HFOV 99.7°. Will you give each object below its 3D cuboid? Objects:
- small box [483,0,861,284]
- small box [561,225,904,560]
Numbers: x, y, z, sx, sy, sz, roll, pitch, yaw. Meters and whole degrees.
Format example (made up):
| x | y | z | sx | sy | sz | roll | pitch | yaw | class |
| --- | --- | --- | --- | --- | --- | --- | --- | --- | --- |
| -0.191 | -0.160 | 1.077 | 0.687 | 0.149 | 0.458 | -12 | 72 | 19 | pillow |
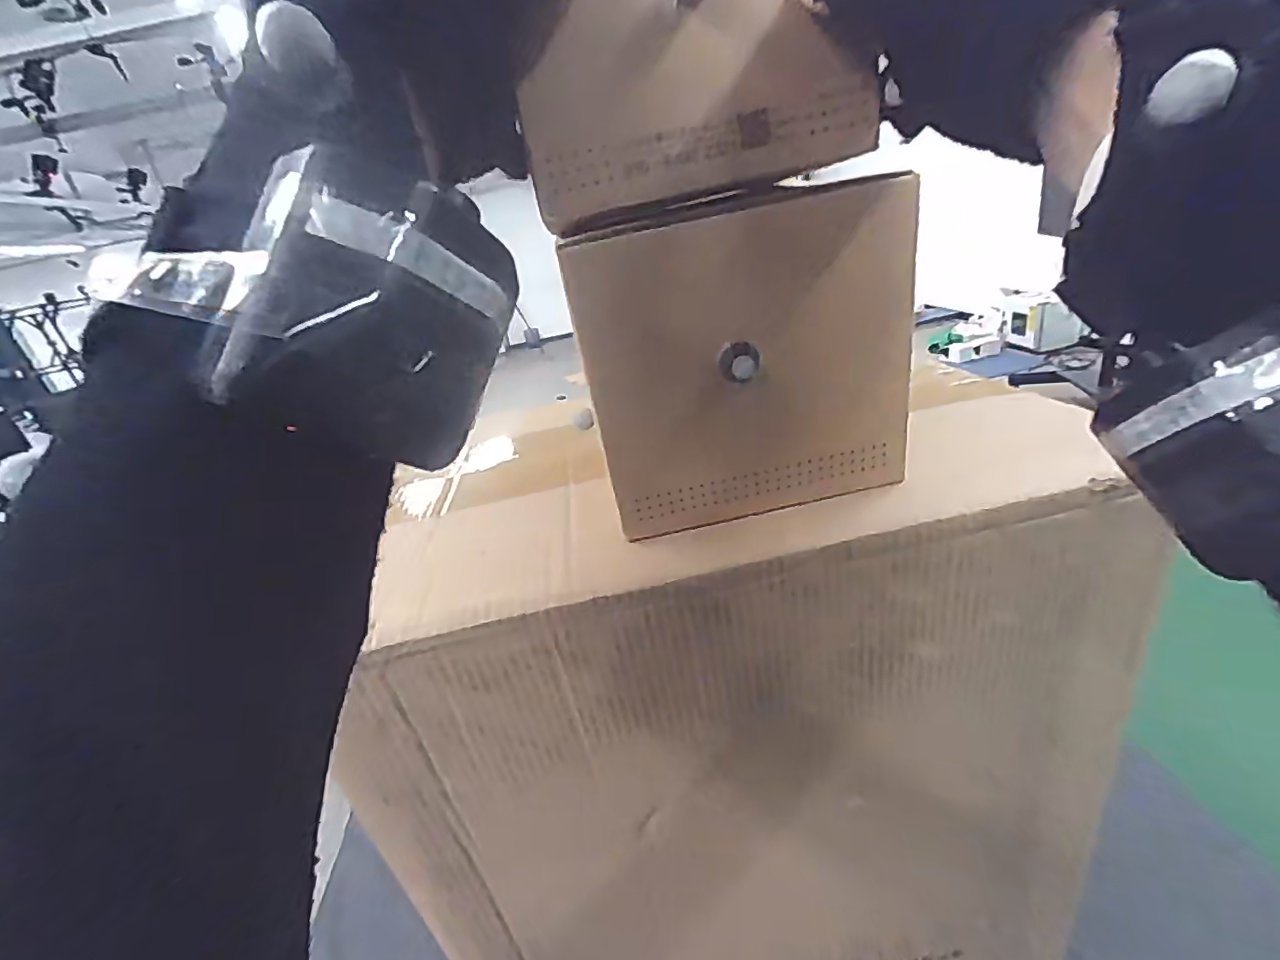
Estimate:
| x | y | z | sx | sy | sz | roll | pitch | yaw | class |
| --- | --- | --- | --- | --- | --- | --- | --- | --- | --- |
| 0.011 | -0.218 | 0.315 | 0.168 | 0.176 | 0.179 | -15 | 24 | -4 | small box |
| 0.052 | -0.069 | 0.372 | 0.179 | 0.176 | 0.168 | -12 | 26 | 0 | small box |
